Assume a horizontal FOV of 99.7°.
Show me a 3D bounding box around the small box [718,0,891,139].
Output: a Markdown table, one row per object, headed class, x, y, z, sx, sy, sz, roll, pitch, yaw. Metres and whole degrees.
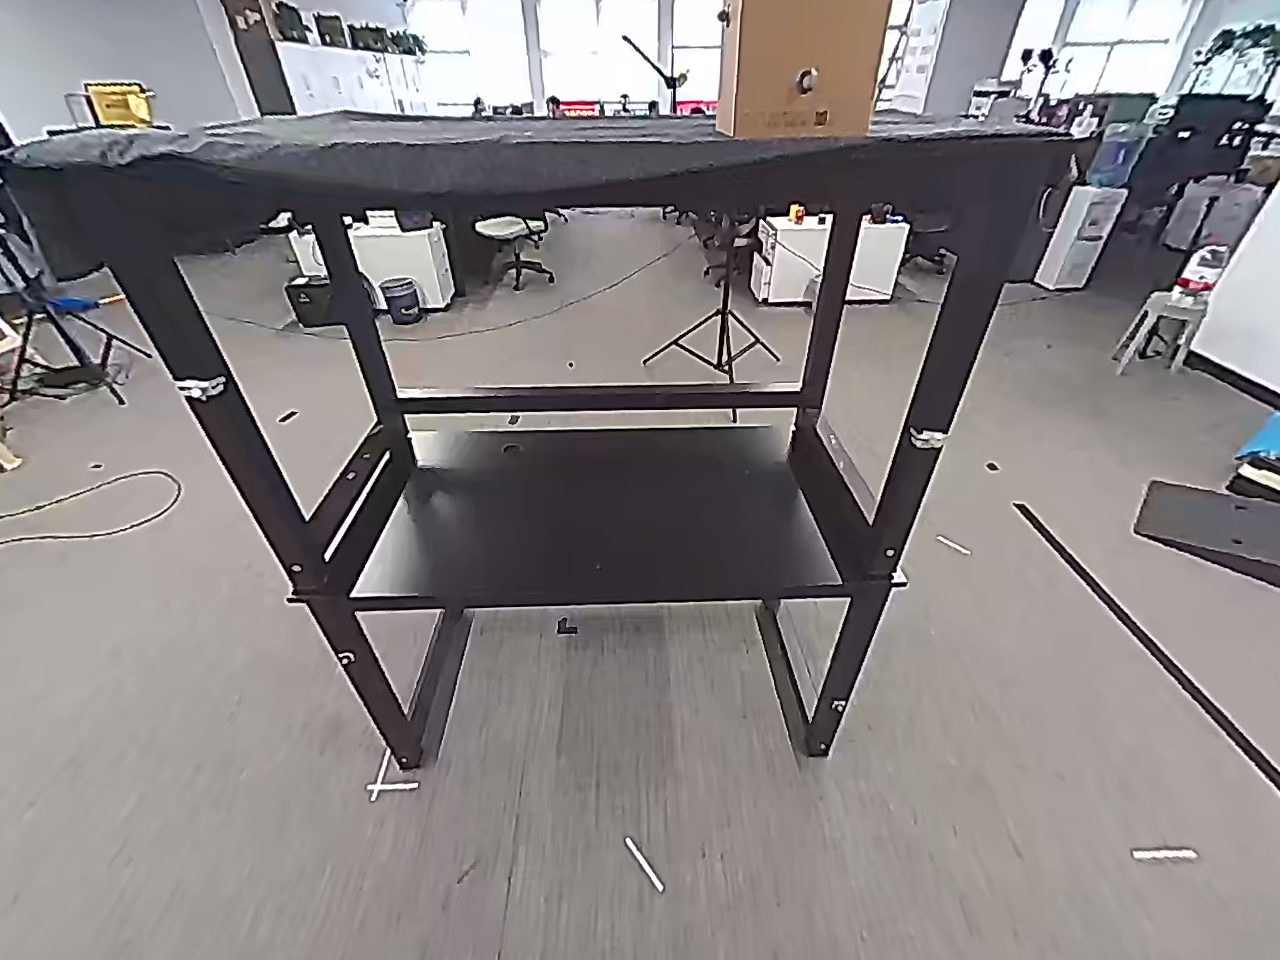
| class | x | y | z | sx | sy | sz | roll | pitch | yaw |
| --- | --- | --- | --- | --- | --- | --- | --- | --- | --- |
| small box | 0.192 | -0.533 | 0.679 | 0.168 | 0.176 | 0.179 | -2 | 36 | 1 |
